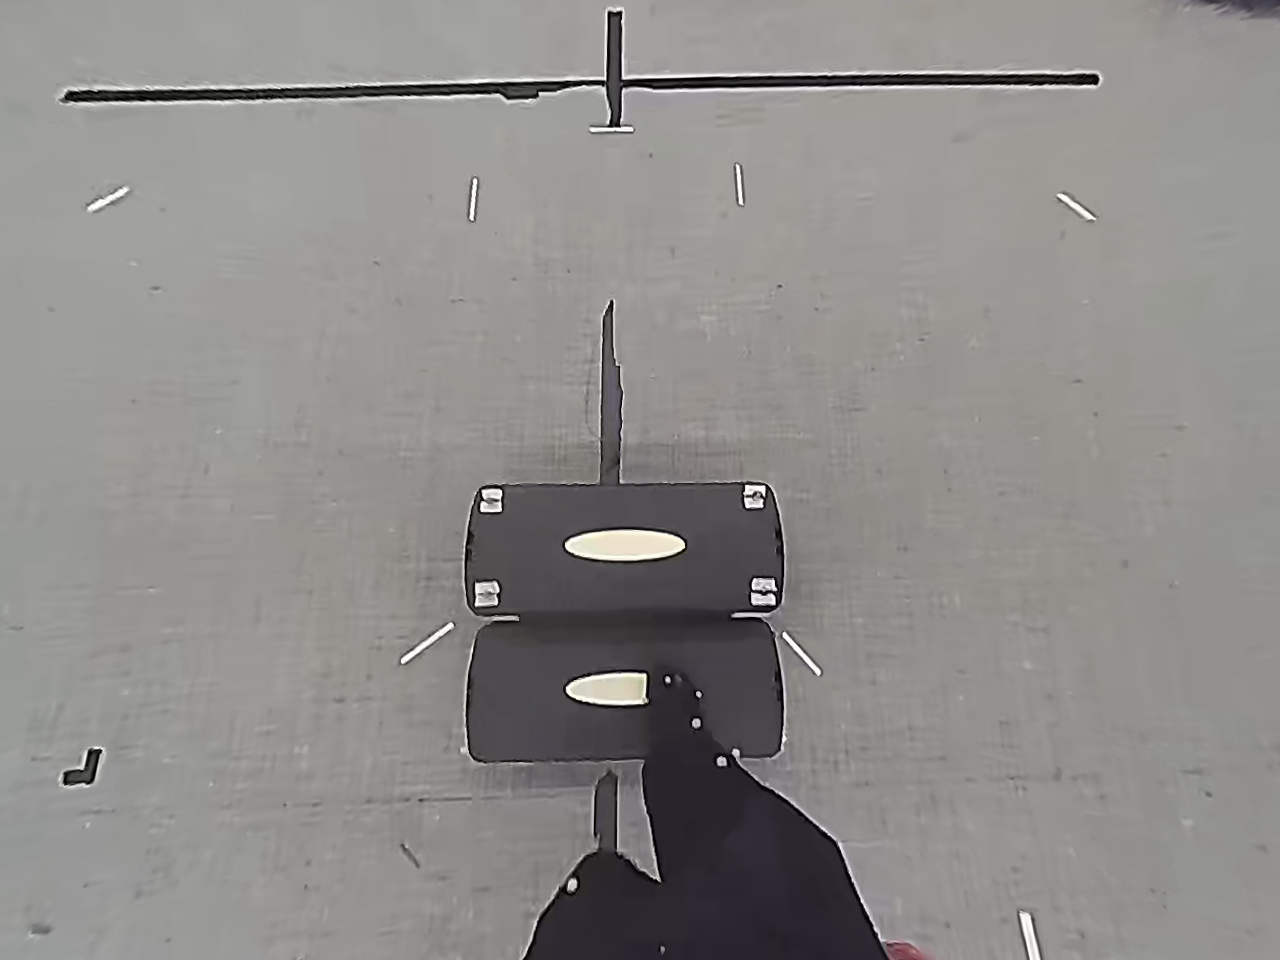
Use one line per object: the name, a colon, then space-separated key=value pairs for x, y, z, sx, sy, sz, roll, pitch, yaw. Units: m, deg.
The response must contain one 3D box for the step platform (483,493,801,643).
step platform: x=0.005 y=0.199 z=1.211 sx=0.684 sy=0.204 sz=0.286 roll=3 pitch=71 yaw=0
